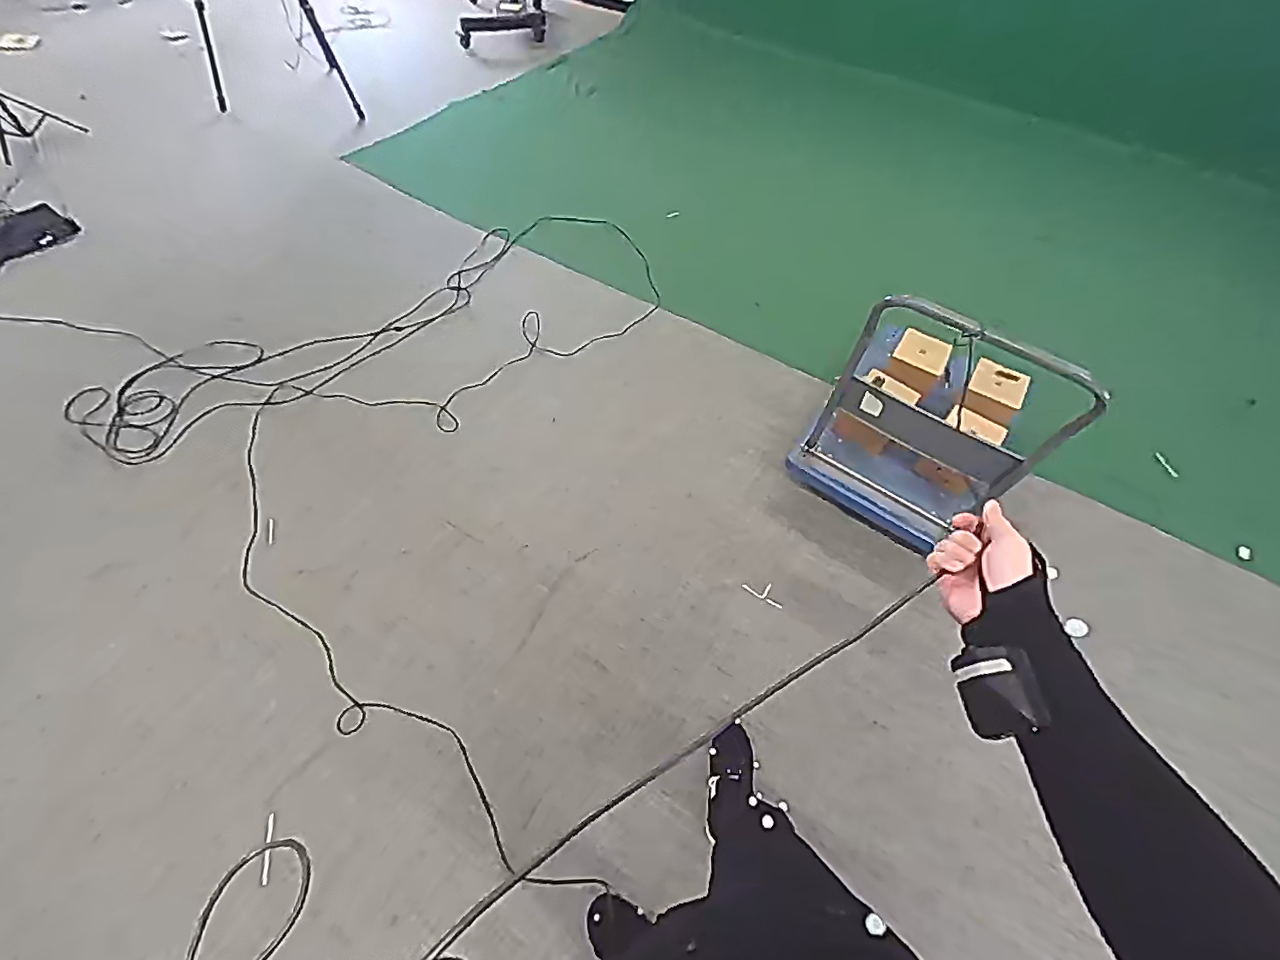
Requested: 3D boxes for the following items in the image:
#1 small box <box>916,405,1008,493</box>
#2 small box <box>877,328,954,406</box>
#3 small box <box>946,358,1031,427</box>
[{"bbox_3d":[1.003,-0.095,1.699,0.168,0.176,0.179,34,62,19],"label":"small box"},{"bbox_3d":[0.956,-0.390,1.893,0.168,0.176,0.179,30,60,16],"label":"small box"},{"bbox_3d":[1.167,-0.272,1.822,0.168,0.176,0.179,30,61,17],"label":"small box"}]
